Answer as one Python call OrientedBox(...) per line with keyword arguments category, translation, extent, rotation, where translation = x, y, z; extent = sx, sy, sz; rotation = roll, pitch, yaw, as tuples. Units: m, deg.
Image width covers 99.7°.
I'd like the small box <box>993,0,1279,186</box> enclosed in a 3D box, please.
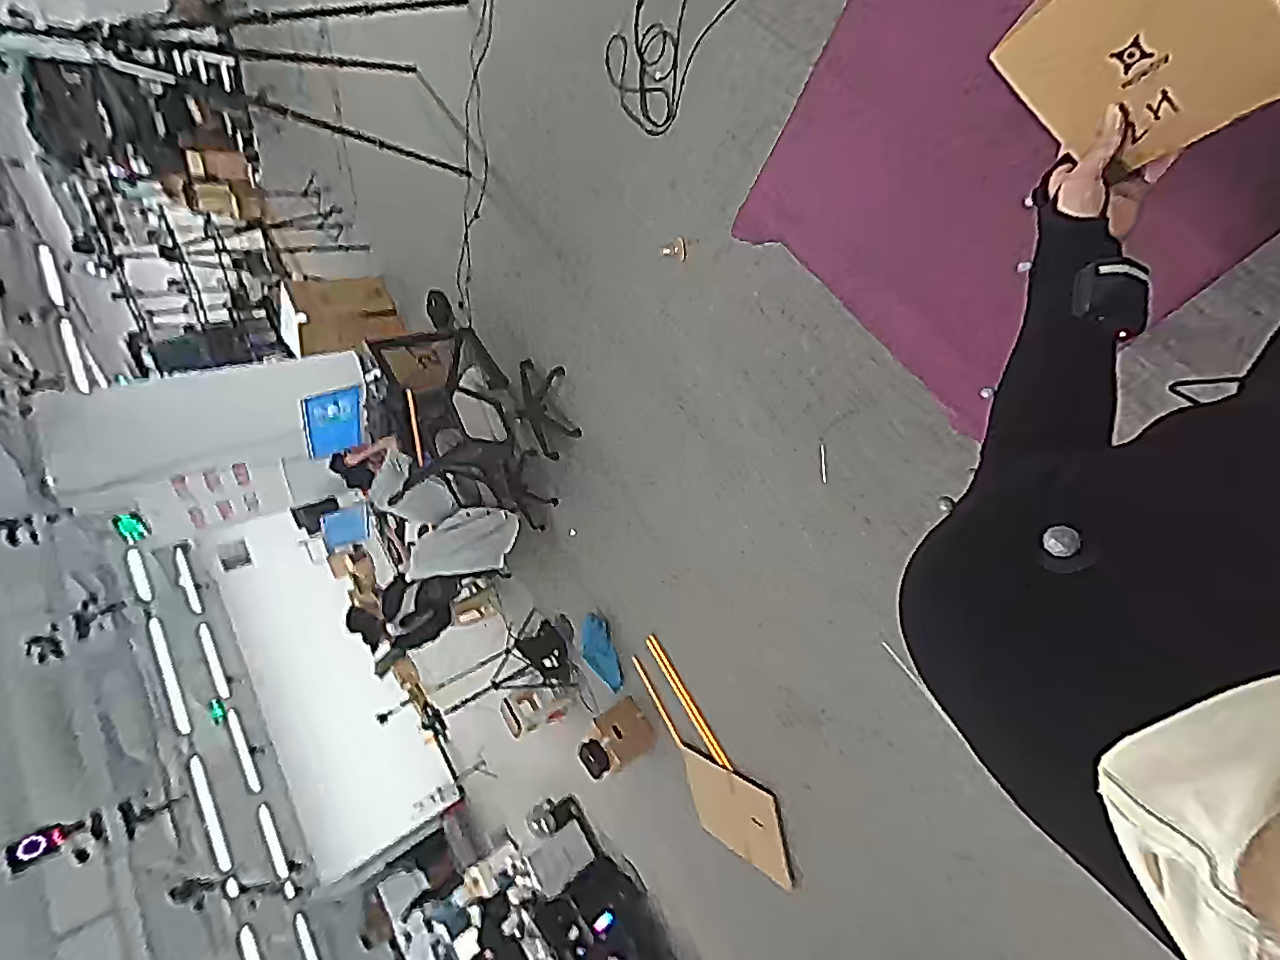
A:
OrientedBox(category="small box", translation=(0.459, -0.405, 0.452), extent=(0.179, 0.176, 0.168), rotation=(40, 175, -10))
